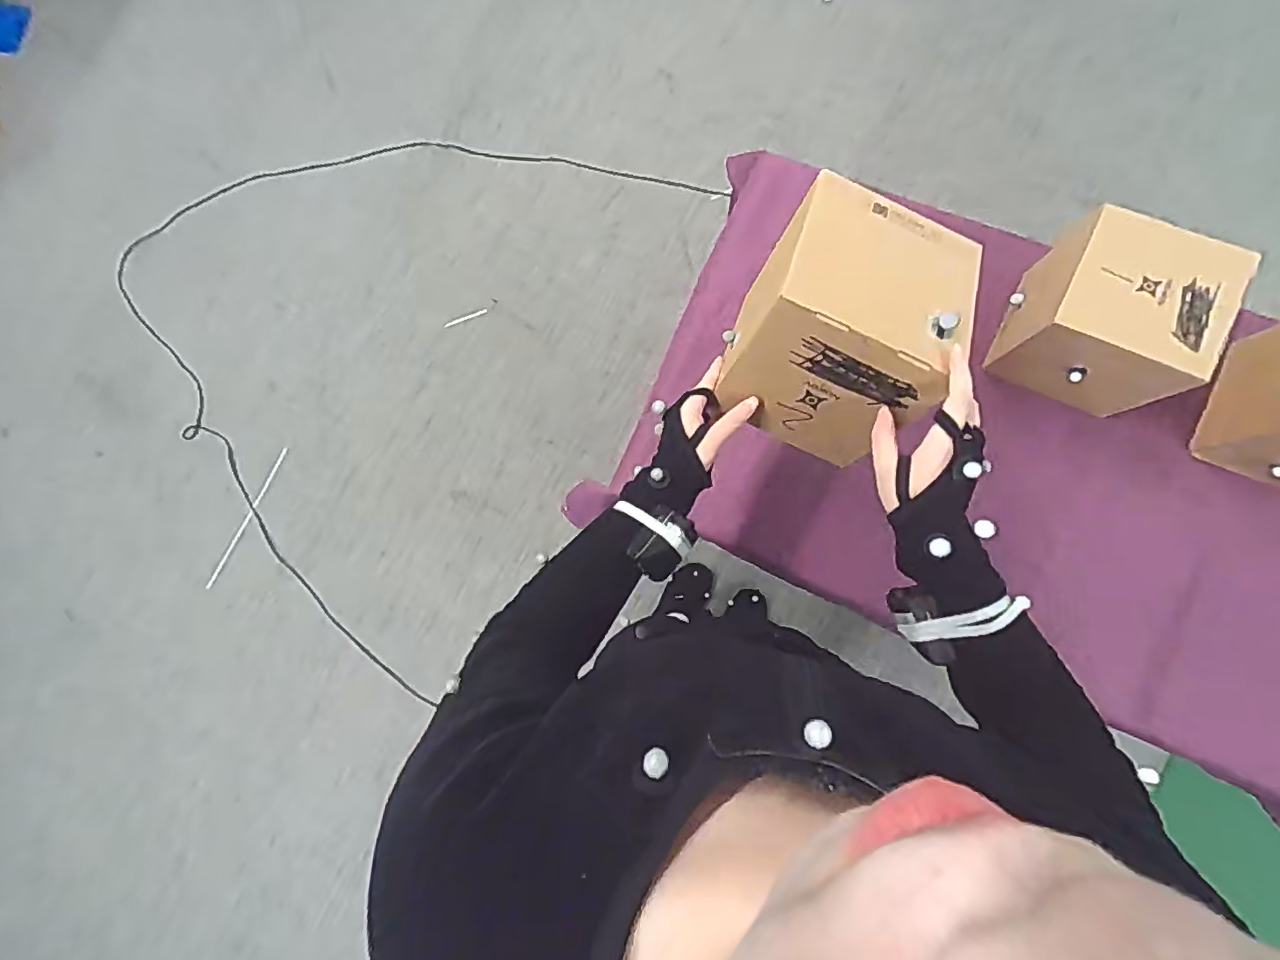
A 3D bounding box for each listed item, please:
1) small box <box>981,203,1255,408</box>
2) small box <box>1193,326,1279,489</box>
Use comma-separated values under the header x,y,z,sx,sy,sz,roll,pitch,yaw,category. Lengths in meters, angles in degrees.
x,y,z,sx,sy,sz,roll,pitch,yaw,category
0.593,-0.209,0.698,0.179,0.176,0.168,26,86,10,small box
0.847,-0.095,0.656,0.168,0.176,0.179,24,87,9,small box
